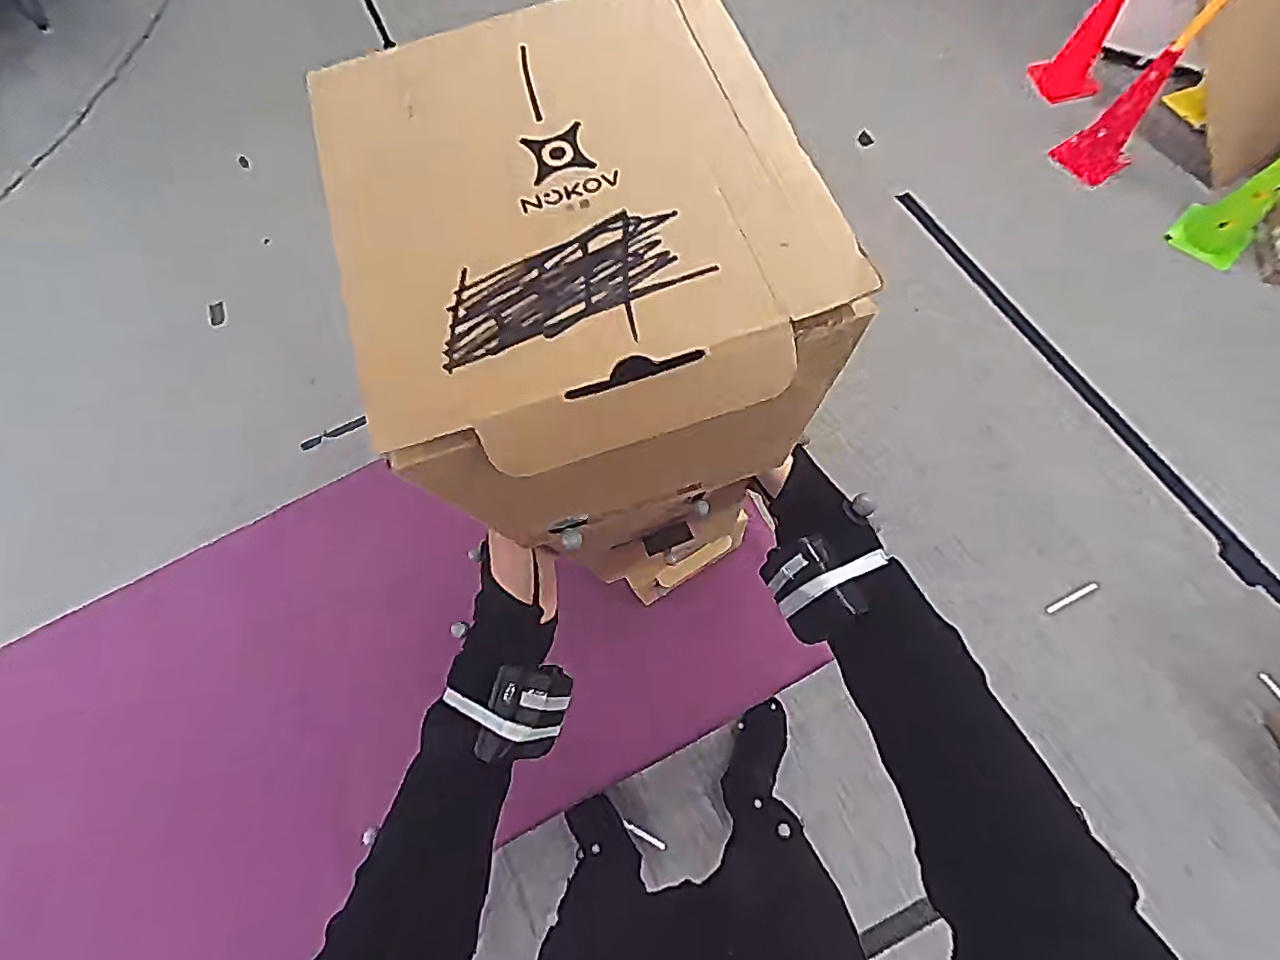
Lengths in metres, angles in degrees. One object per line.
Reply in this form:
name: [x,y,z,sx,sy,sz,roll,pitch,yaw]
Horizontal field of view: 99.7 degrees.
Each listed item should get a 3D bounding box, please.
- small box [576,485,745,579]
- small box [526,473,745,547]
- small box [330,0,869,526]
small box: [-0.001,-0.007,0.595,0.168,0.176,0.179,-21,72,-1]
small box: [-0.016,-0.054,0.437,0.168,0.176,0.179,-18,73,-2]
small box: [-0.020,-0.085,0.276,0.168,0.176,0.179,-18,73,-2]
